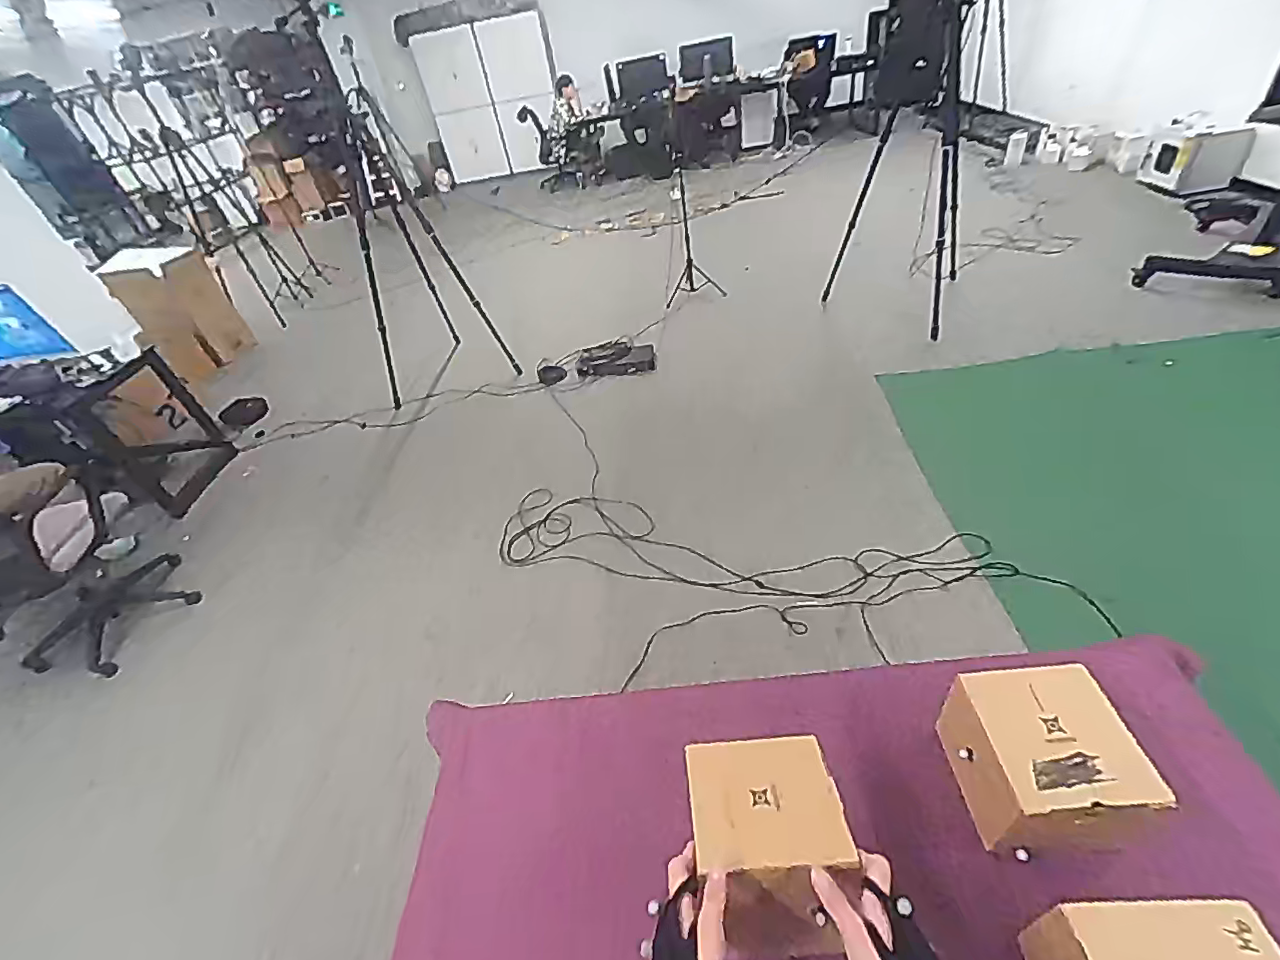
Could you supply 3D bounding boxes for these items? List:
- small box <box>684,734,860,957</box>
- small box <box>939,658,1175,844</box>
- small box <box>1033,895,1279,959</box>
[{"bbox_3d":[0.150,0.442,0.662,0.179,0.176,0.168,-6,25,4],"label":"small box"},{"bbox_3d":[0.527,0.363,0.718,0.168,0.176,0.179,-7,40,6],"label":"small box"},{"bbox_3d":[0.525,0.529,0.530,0.179,0.176,0.168,-7,40,8],"label":"small box"}]
